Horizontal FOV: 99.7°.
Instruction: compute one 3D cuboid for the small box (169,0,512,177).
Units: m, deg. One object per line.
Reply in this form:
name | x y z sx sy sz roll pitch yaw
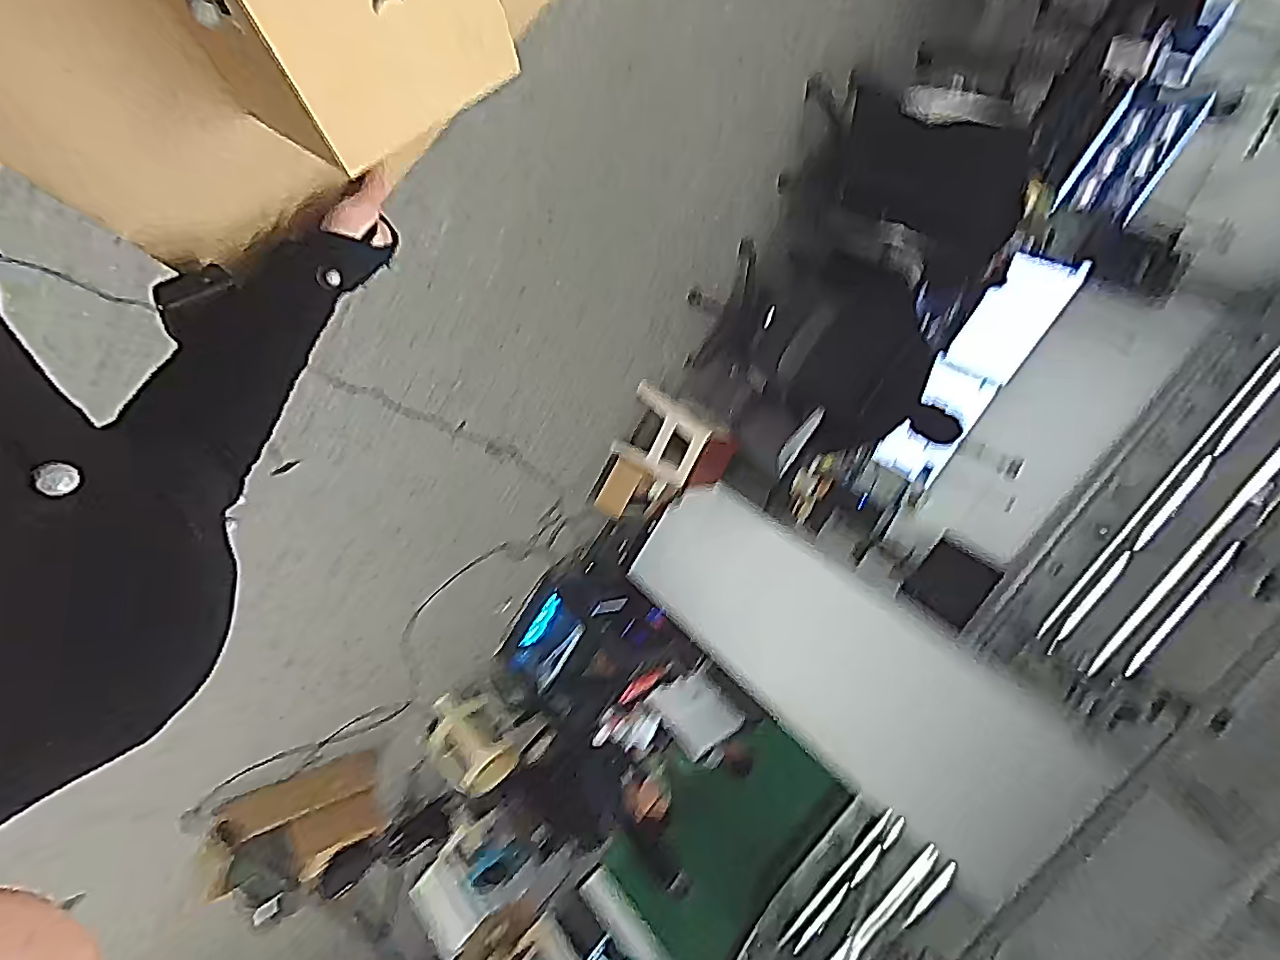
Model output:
small box | -0.228 -0.360 0.378 0.168 0.176 0.179 -46 153 -15
